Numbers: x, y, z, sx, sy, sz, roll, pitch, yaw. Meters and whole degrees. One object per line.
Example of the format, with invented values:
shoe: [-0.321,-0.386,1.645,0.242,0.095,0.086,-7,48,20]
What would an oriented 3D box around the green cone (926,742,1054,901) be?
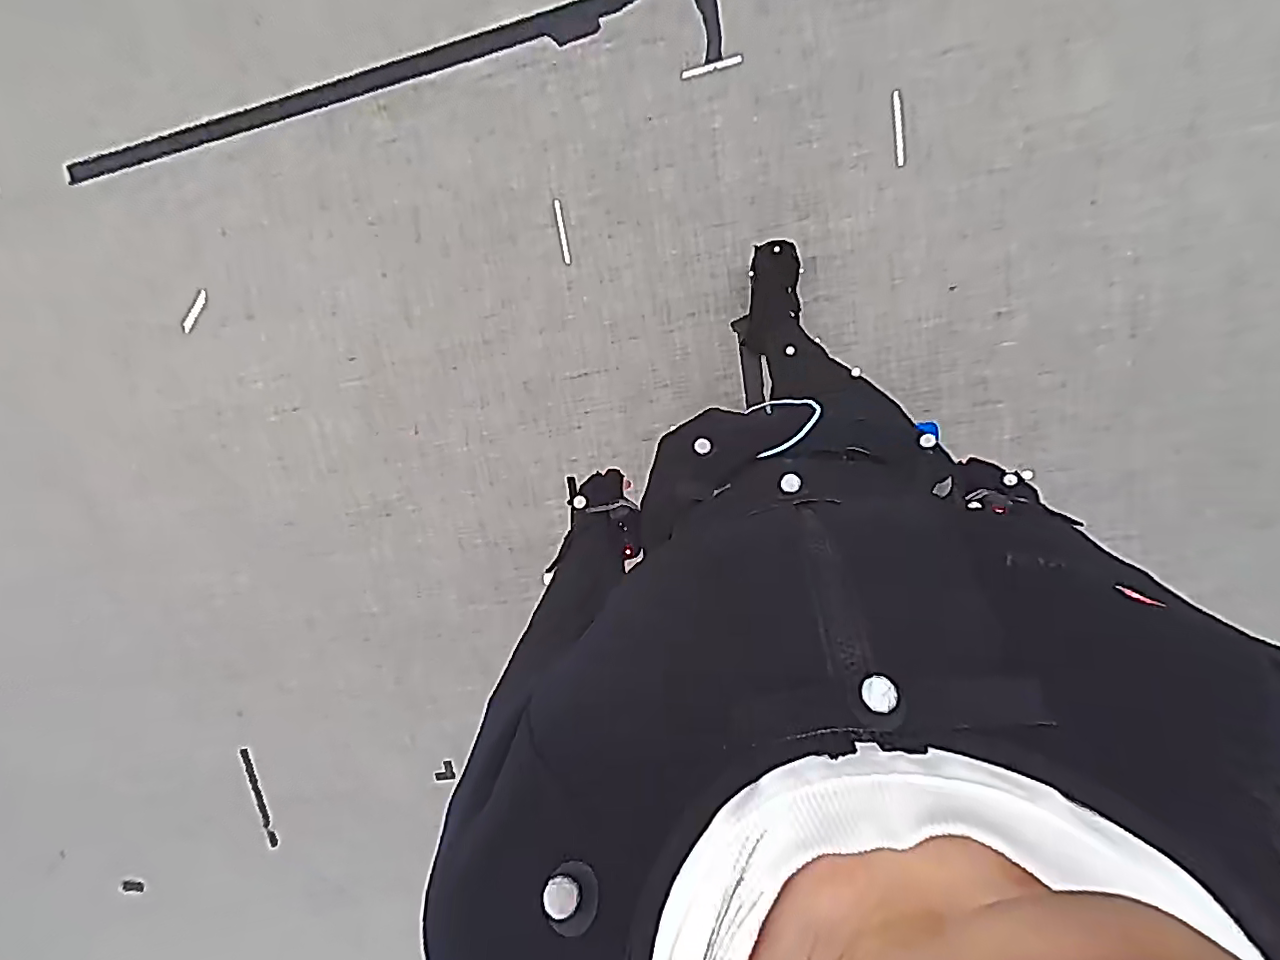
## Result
green cone: [0.888,0.860,1.340,0.202,0.368,0.200,-8,101,8]

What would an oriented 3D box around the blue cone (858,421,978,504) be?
blue cone: [0.628,-0.010,1.196,0.192,0.380,0.193,-4,102,8]

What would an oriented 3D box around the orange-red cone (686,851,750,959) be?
orange-red cone: [0.221,1.287,1.529,0.199,0.360,0.198,-3,101,9]
